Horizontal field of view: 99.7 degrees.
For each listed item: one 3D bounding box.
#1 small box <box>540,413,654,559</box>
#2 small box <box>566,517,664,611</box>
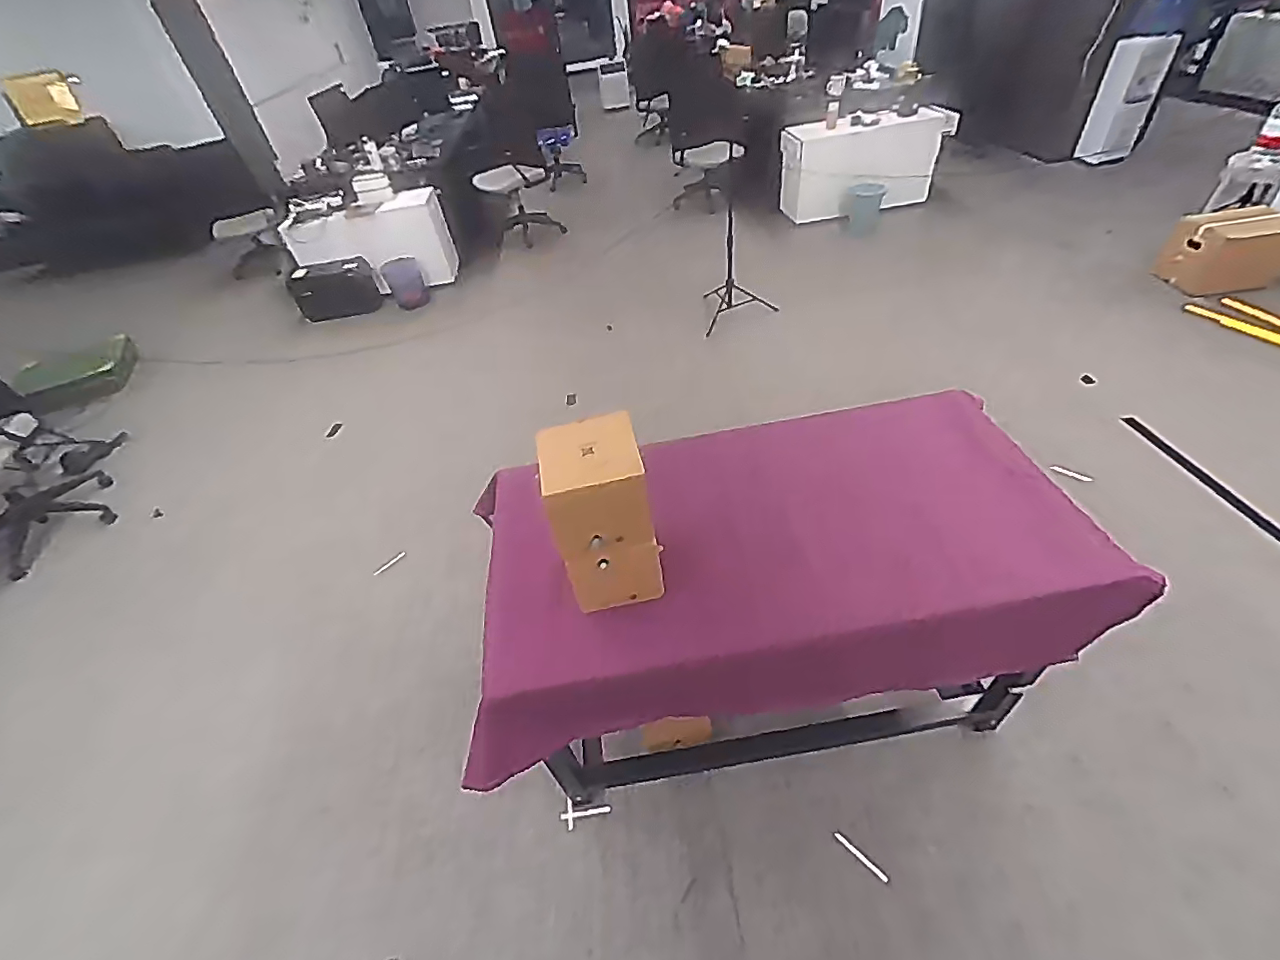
[{"bbox_3d":[-0.075,0.011,0.951,0.168,0.176,0.179,-12,44,-3],"label":"small box"},{"bbox_3d":[-0.052,0.129,1.062,0.168,0.176,0.179,-11,43,-2],"label":"small box"}]
